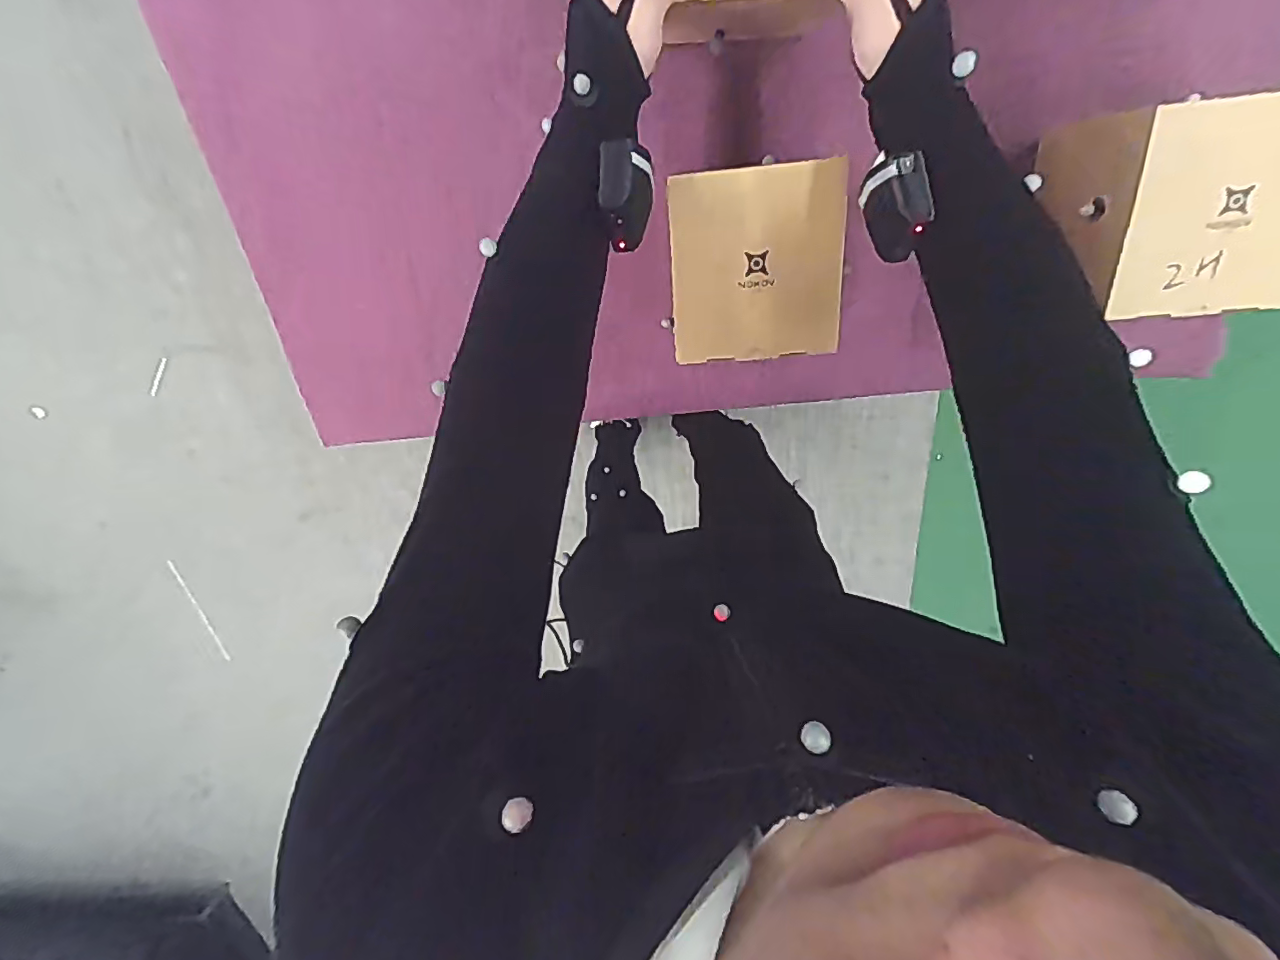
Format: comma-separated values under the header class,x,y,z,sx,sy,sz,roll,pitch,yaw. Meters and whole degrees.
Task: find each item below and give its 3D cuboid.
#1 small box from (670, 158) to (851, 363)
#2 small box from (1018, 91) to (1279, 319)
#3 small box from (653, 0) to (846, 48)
class,x,y,z,sx,sy,sz,roll,pitch,yaw
small box,0.119,-0.237,0.594,0.168,0.176,0.179,-3,115,6
small box,0.520,-0.265,0.542,0.168,0.176,0.179,-2,114,7
small box,0.092,-0.502,0.463,0.168,0.176,0.179,0,119,4
